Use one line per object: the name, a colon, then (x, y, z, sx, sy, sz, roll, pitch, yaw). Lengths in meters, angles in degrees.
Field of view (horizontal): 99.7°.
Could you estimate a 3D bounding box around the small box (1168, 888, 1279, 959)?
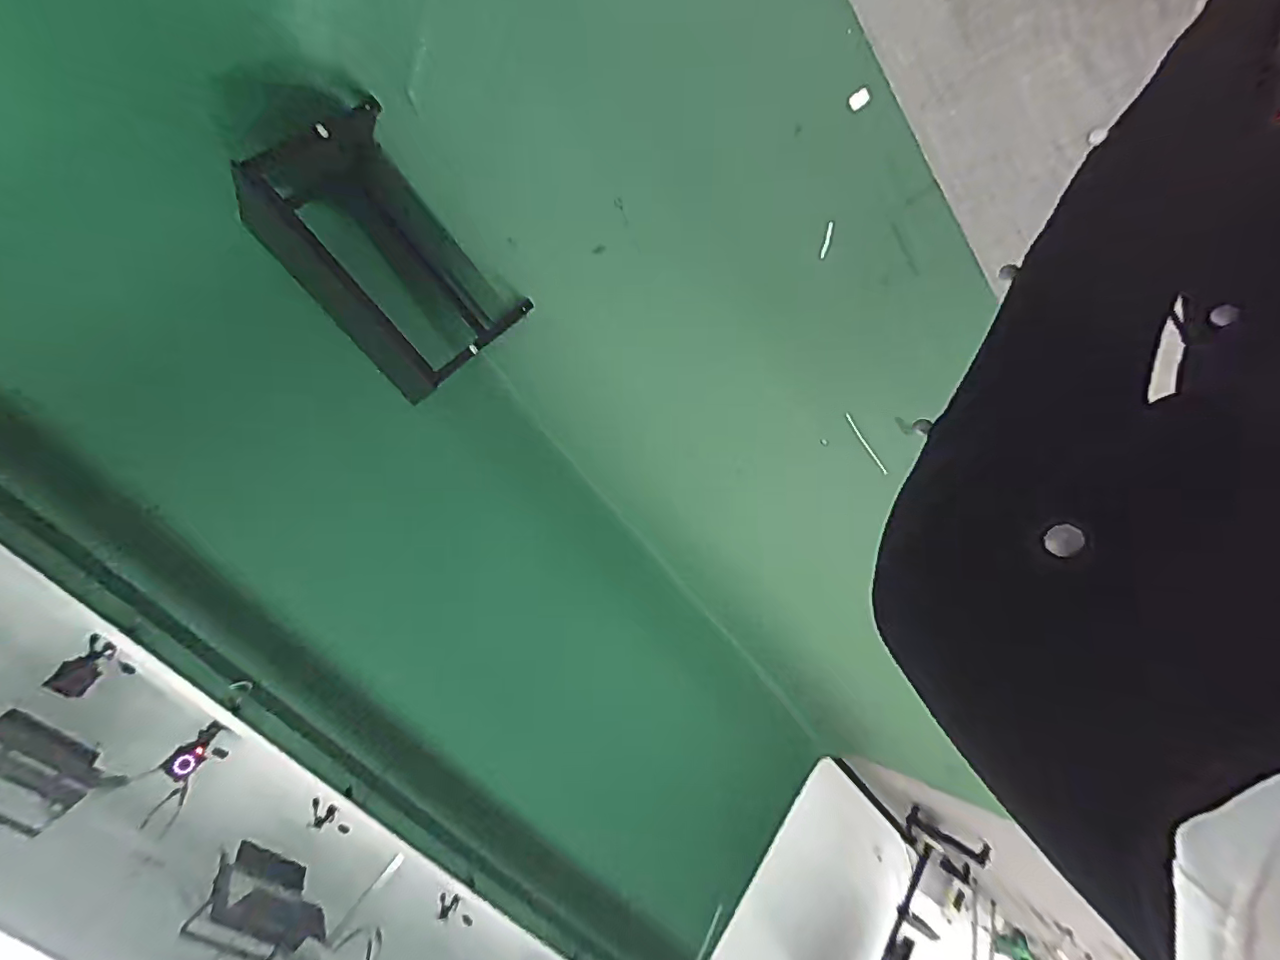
small box: (1.530, 1.229, 1.413, 0.179, 0.176, 0.168, 50, 153, -18)
